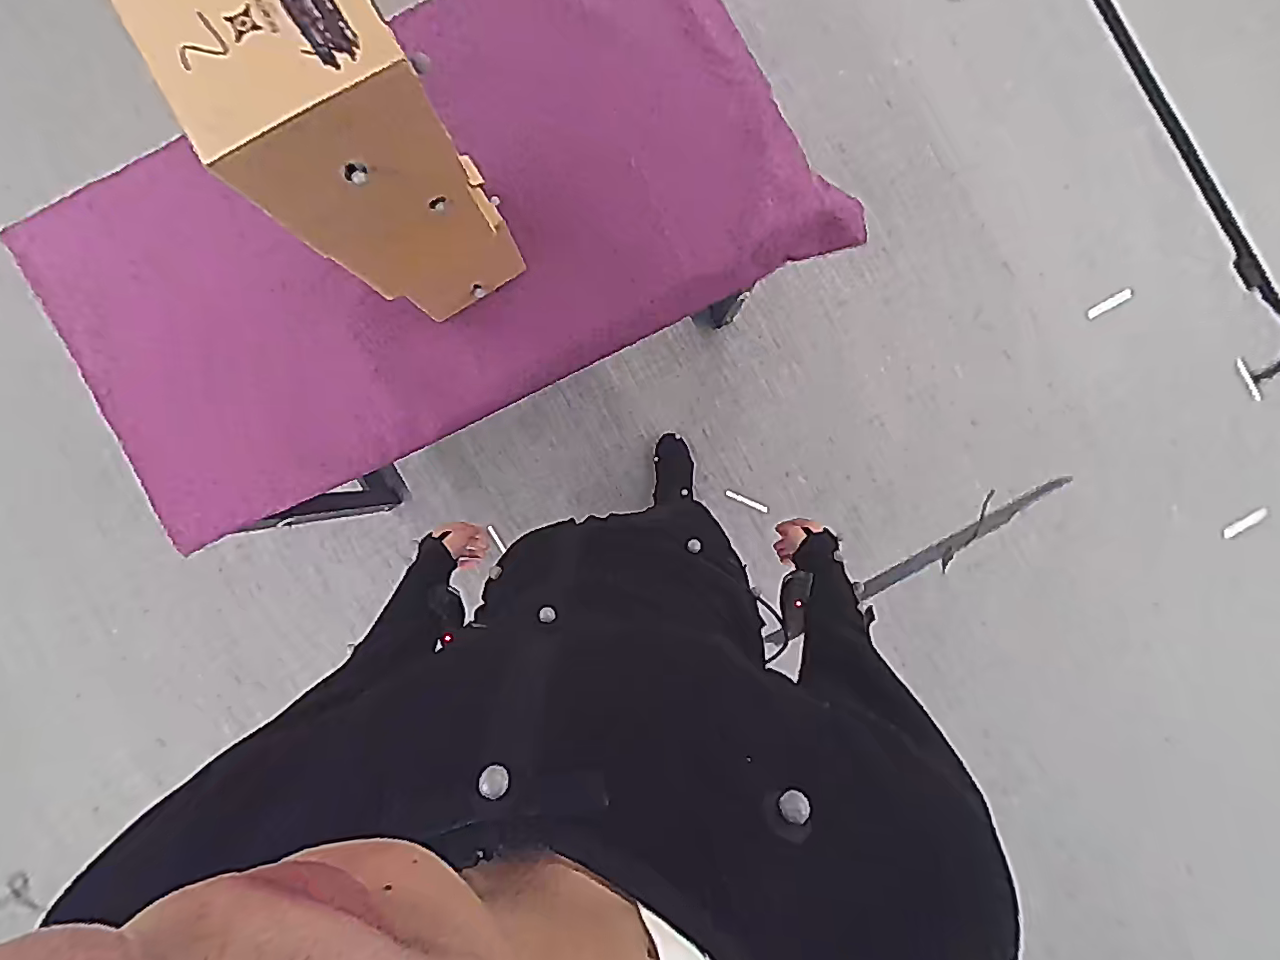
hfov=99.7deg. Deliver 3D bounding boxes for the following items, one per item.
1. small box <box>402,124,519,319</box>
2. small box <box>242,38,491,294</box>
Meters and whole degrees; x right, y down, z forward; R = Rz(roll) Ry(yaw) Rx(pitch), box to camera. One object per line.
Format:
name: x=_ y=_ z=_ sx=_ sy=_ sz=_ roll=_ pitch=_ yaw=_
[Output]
small box: x=-0.300 y=-0.375 z=0.815 sx=0.179 sy=0.176 sz=0.168 roll=-32 pitch=90 yaw=-1
small box: x=-0.309 y=-0.356 z=0.652 sx=0.179 sy=0.176 sz=0.168 roll=-32 pitch=90 yaw=-1
